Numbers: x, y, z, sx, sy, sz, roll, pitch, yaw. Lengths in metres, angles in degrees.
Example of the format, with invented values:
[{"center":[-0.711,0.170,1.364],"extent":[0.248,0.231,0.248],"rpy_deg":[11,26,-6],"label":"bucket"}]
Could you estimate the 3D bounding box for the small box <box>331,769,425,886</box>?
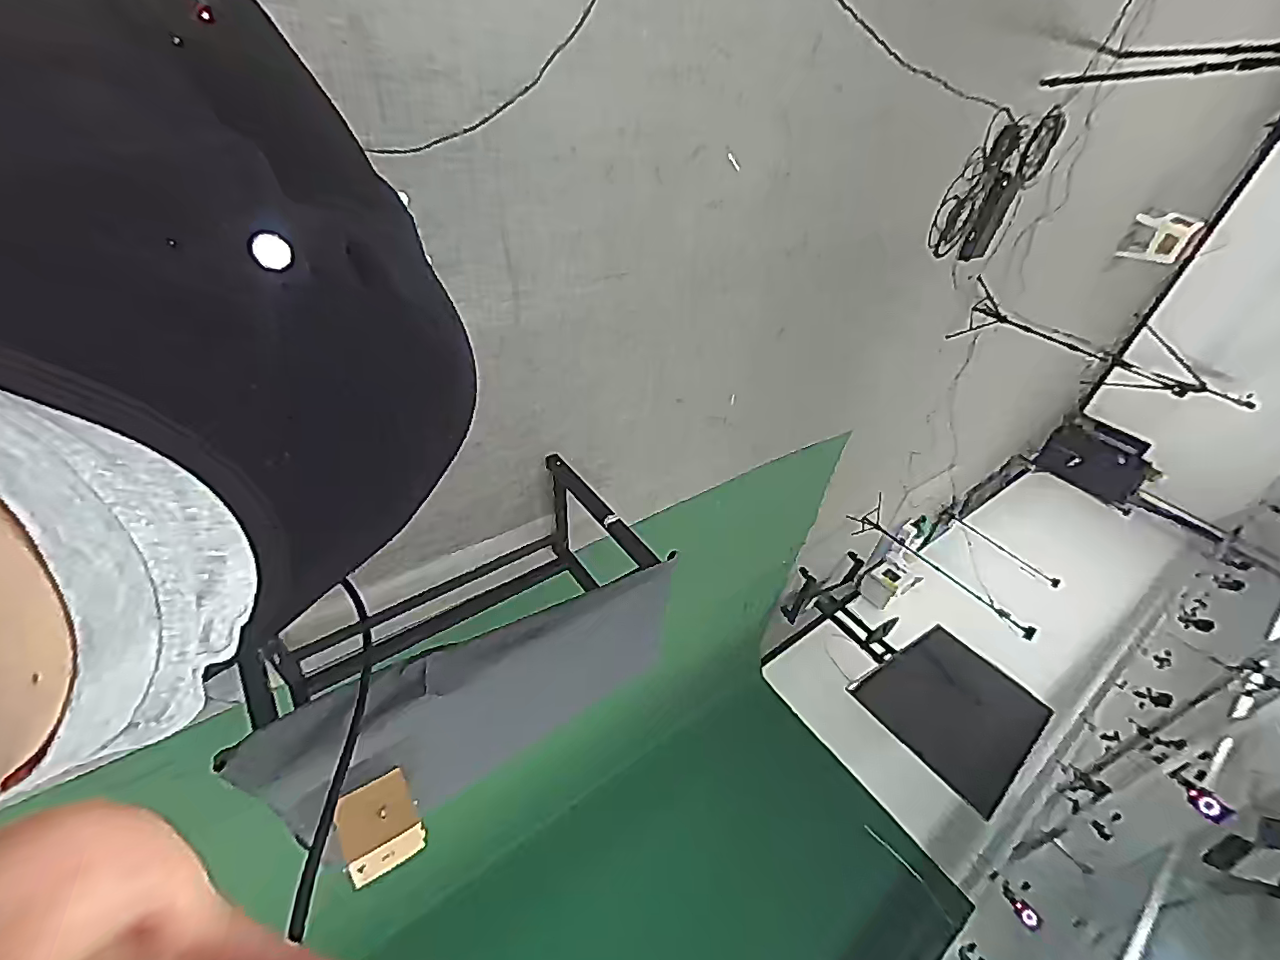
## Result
[{"center":[-0.694,0.915,1.439],"extent":[0.179,0.176,0.168],"rpy_deg":[-19,136,-35],"label":"small box"}]
